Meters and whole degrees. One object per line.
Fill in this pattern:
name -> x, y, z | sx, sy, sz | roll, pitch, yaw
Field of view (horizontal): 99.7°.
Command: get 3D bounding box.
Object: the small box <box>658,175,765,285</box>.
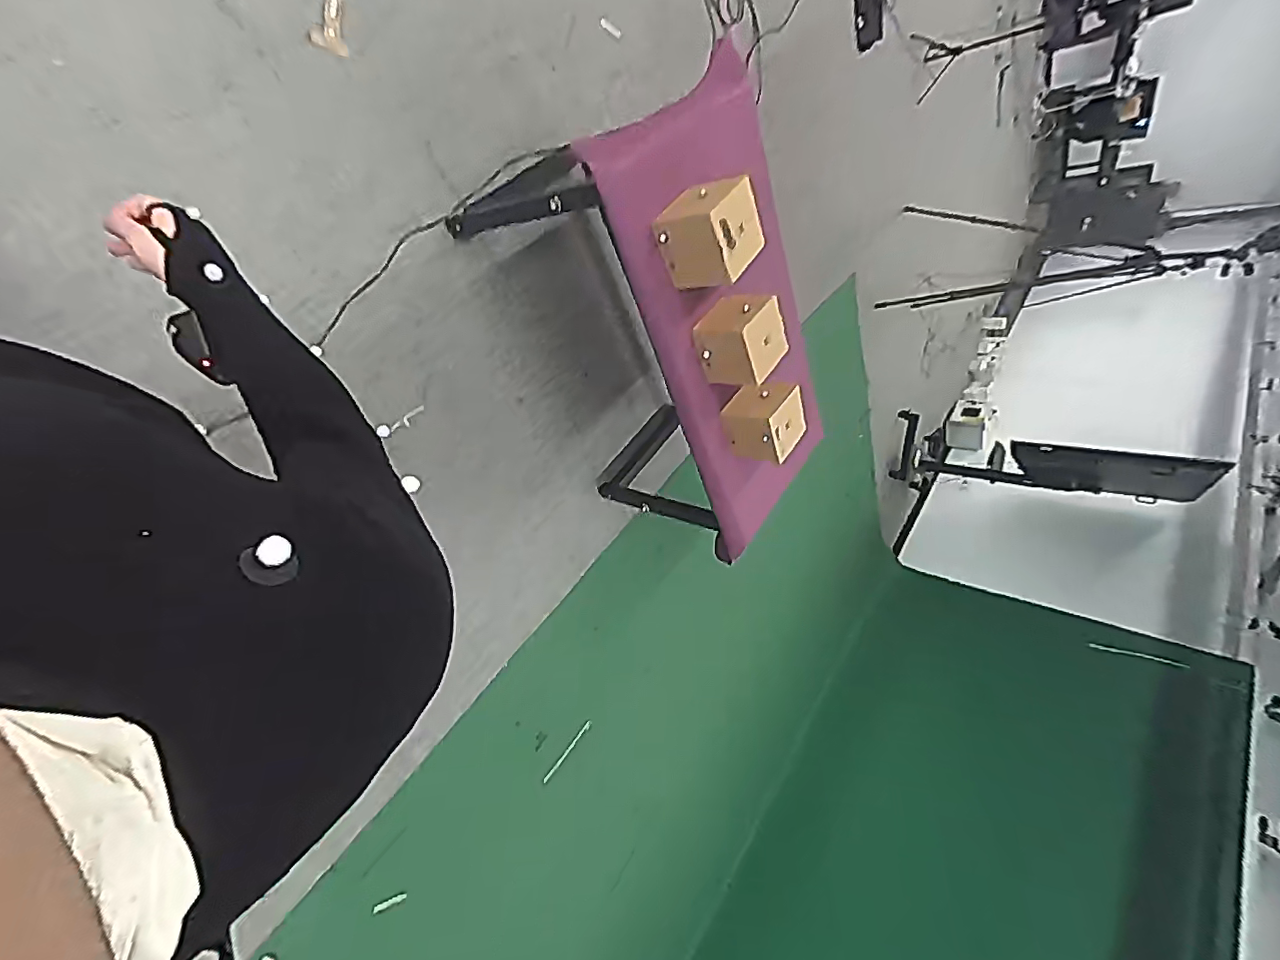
small box -> 0.160, -0.570, 1.253 | 0.179, 0.176, 0.168 | -52, 134, -26

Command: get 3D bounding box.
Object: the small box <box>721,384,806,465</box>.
small box -> 0.364, -0.170, 1.594 | 0.179, 0.176, 0.168 | -47, 131, -29

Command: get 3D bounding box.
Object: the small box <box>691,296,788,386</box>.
small box -> 0.264, -0.369, 1.429 | 0.179, 0.176, 0.168 | -48, 131, -27
